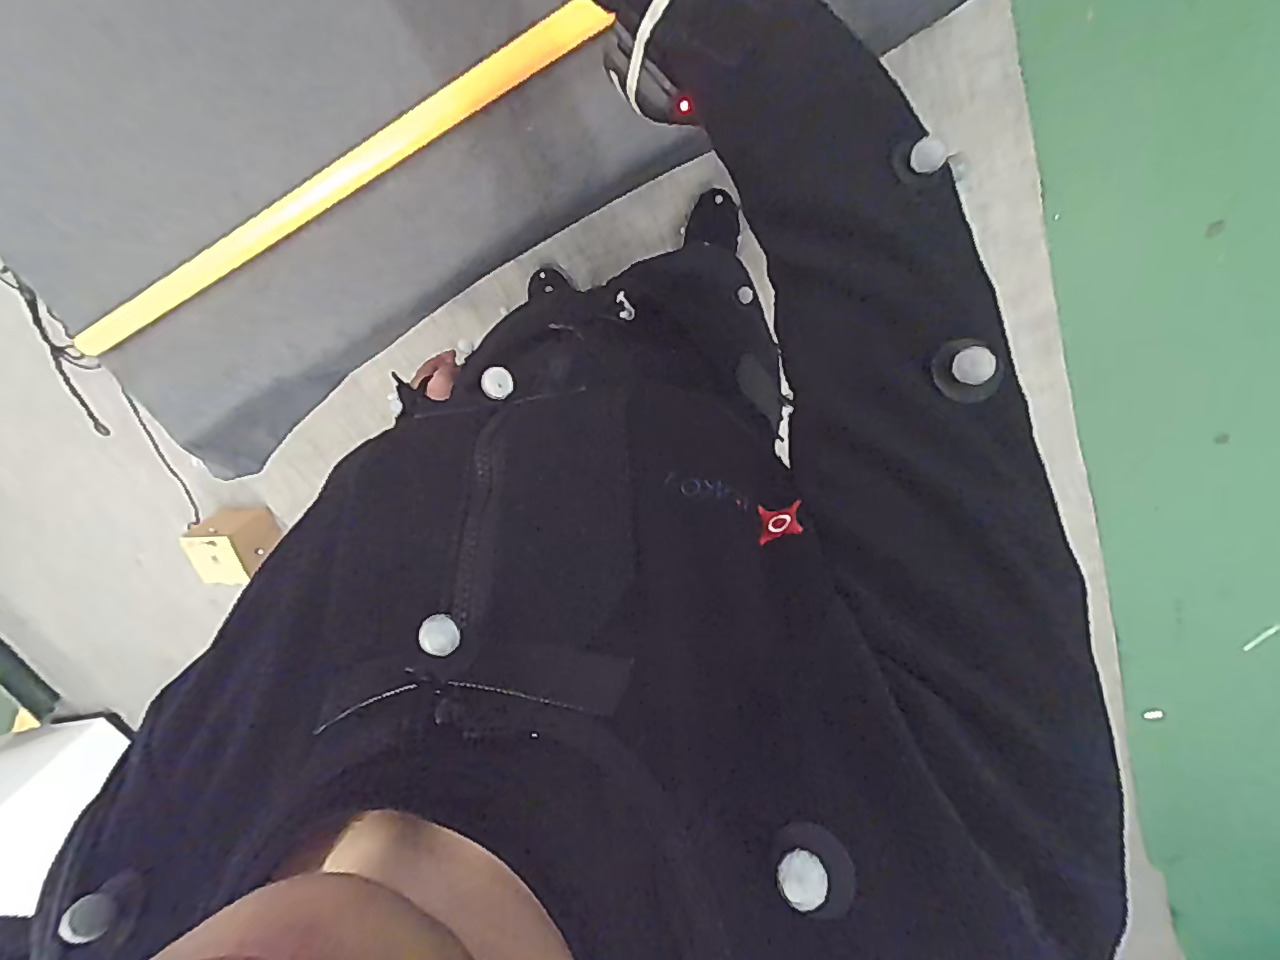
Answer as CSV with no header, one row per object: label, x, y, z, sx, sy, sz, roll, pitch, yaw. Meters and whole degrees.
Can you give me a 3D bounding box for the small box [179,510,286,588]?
small box,-1.242,0.211,1.667,0.168,0.176,0.179,-1,118,9
